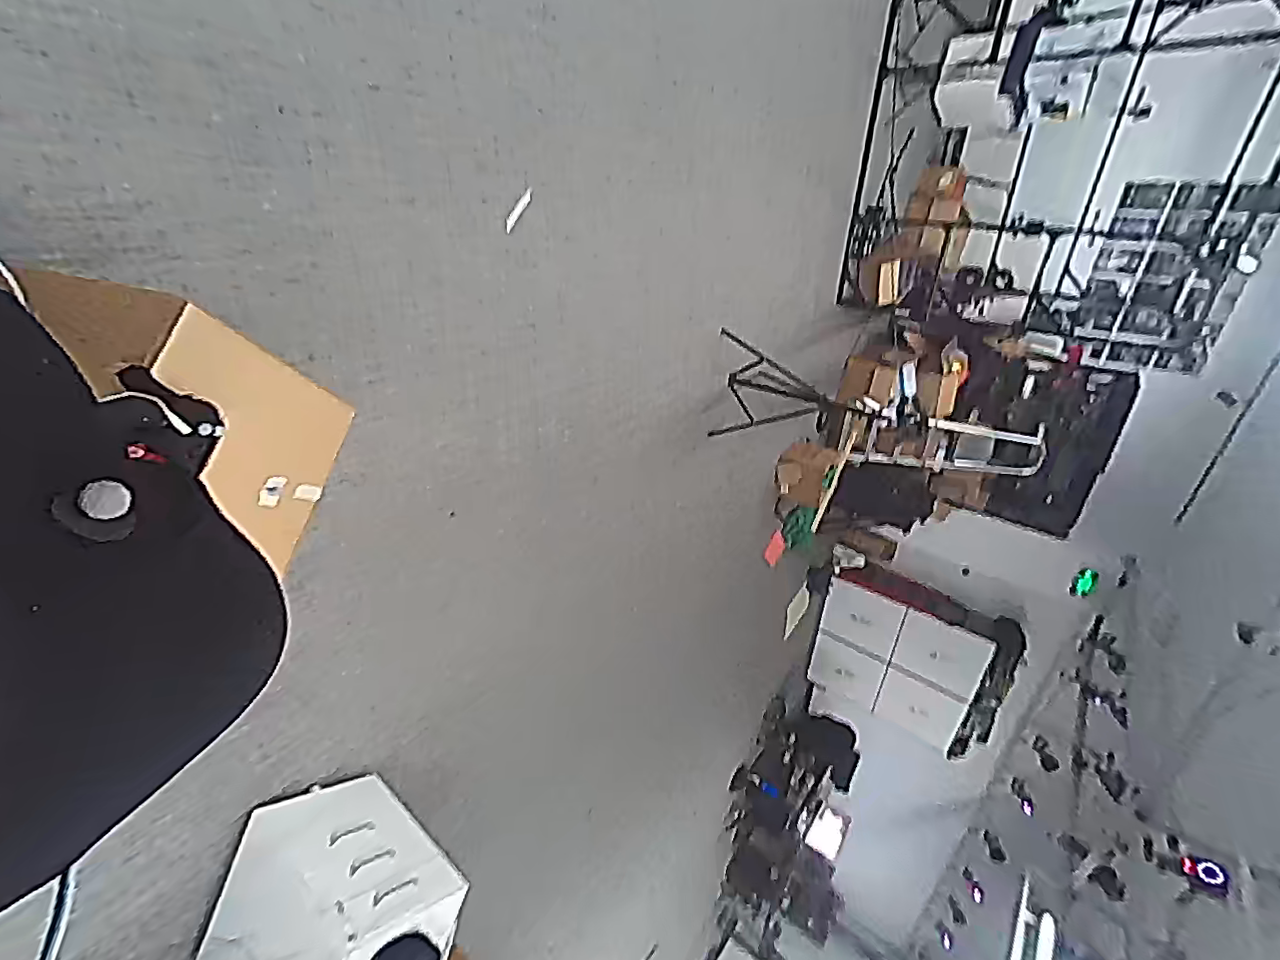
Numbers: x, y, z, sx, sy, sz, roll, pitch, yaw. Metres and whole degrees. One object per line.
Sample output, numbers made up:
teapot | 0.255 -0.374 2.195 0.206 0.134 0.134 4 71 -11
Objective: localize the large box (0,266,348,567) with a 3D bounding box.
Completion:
large box | -0.738 -0.076 0.793 0.320 0.408 0.320 57 47 -71
